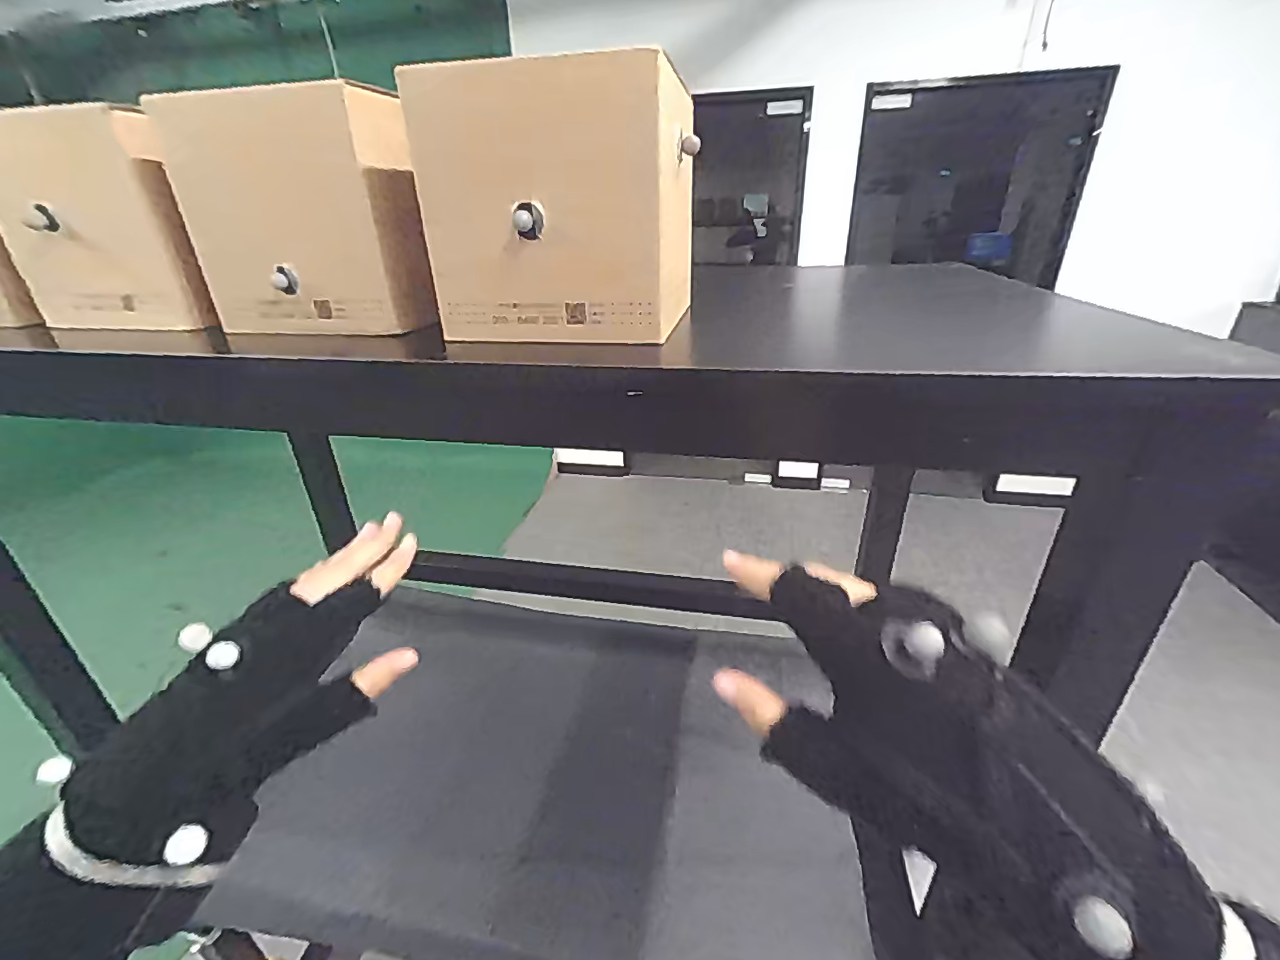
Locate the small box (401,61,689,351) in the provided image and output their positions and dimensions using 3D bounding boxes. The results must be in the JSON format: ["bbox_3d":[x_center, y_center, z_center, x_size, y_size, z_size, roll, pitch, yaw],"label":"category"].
[{"bbox_3d":[-0.051,-0.203,0.429,0.168,0.176,0.179,4,27,10],"label":"small box"}]

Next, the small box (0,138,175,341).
[{"bbox_3d":[-0.641,-0.250,0.562,0.168,0.176,0.179,3,28,10],"label":"small box"}]
